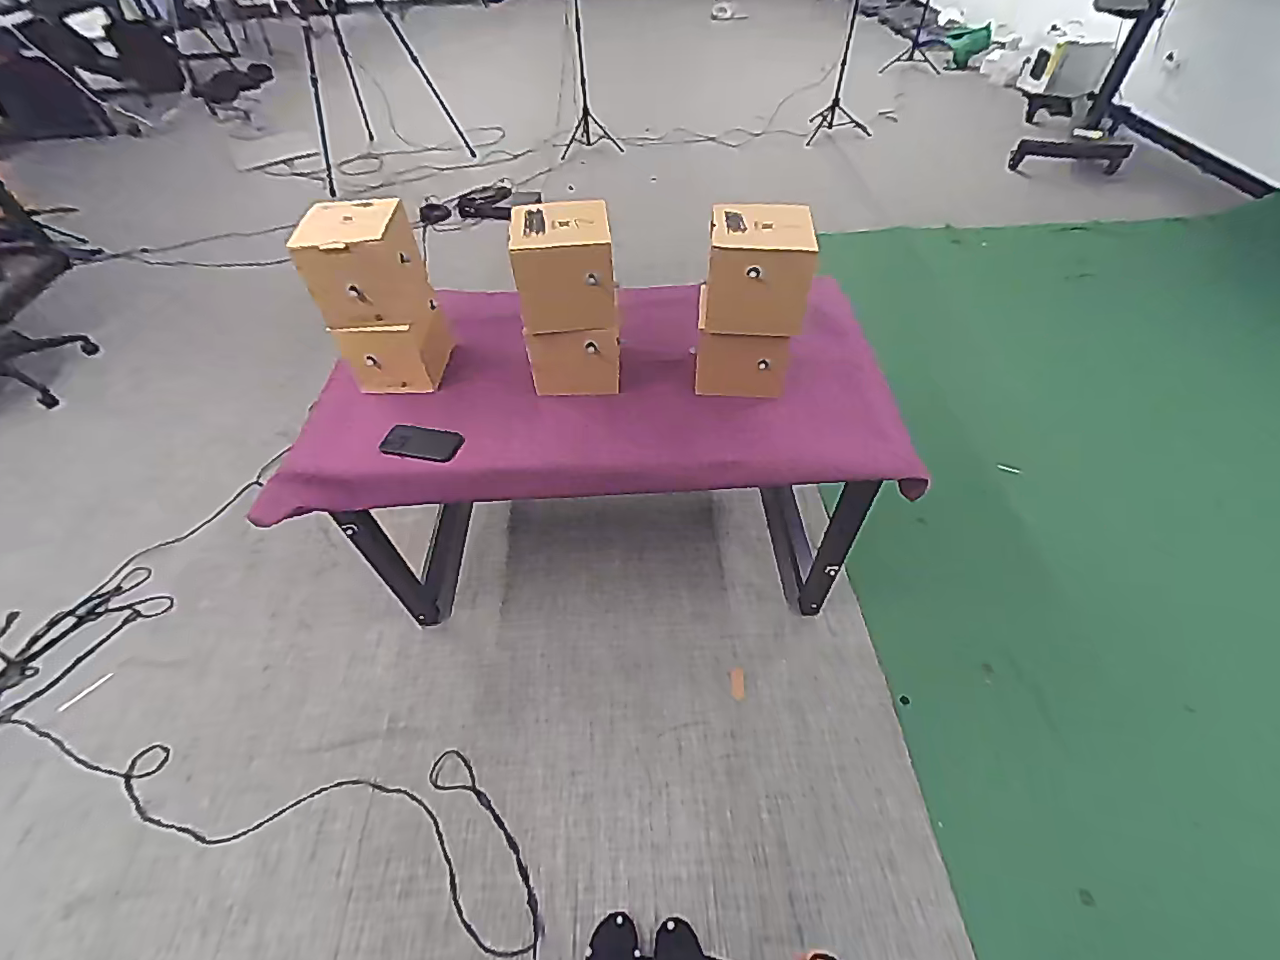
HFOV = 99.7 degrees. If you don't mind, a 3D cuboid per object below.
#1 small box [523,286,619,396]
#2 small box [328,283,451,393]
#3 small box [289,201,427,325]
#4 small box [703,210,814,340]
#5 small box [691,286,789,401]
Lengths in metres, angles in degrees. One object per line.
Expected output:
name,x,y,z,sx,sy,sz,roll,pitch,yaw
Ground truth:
small box,-0.136,-0.291,1.145,0.179,0.176,0.168,-1,50,2
small box,-0.526,-0.303,1.169,0.168,0.176,0.179,0,50,2
small box,-0.531,-0.414,1.048,0.168,0.176,0.179,-4,51,-2
small box,0.208,-0.375,0.993,0.179,0.176,0.168,4,50,5
small box,0.204,-0.282,1.128,0.179,0.176,0.168,4,50,6
